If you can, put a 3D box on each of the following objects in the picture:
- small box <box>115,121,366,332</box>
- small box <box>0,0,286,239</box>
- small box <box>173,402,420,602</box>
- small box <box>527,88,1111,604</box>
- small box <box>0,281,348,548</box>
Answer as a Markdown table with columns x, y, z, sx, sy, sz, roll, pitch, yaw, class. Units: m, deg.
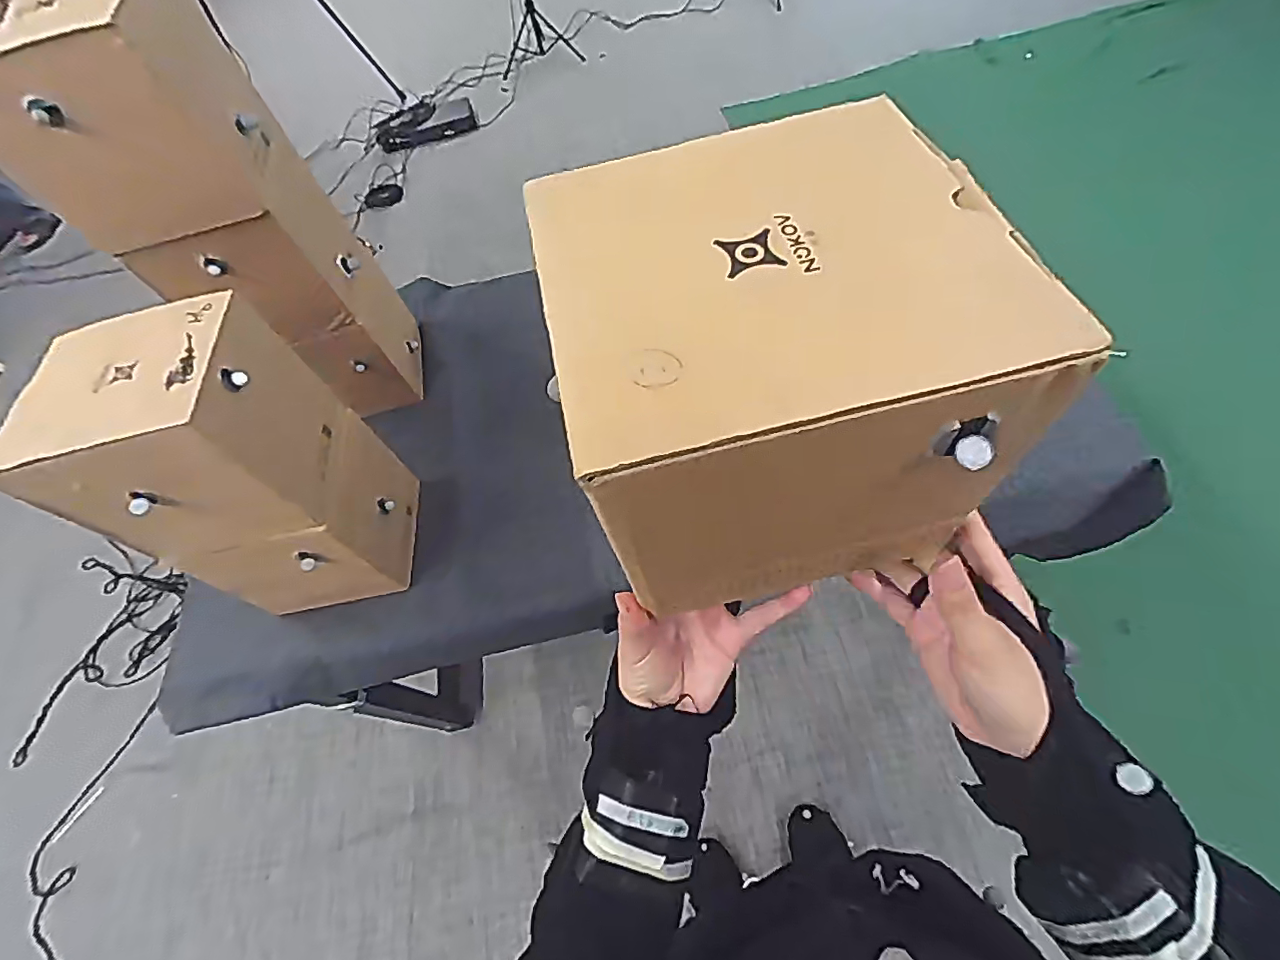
| x | y | z | sx | sy | sz | roll | pitch | yaw | class |
| --- | --- | --- | --- | --- | --- | --- | --- | --- | --- |
| -0.470 | -0.295 | 0.668 | 0.179 | 0.176 | 0.168 | -16 | 62 | -1 | small box |
| -0.489 | -0.364 | 0.521 | 0.179 | 0.176 | 0.168 | -14 | 62 | 1 | small box |
| -0.391 | 0.033 | 0.656 | 0.179 | 0.176 | 0.168 | -11 | 57 | 4 | small box |
| 0.058 | -0.051 | 0.276 | 0.179 | 0.176 | 0.168 | -14 | 60 | 0 | small box |
| -0.421 | -0.052 | 0.520 | 0.179 | 0.176 | 0.168 | -15 | 58 | 2 | small box |
